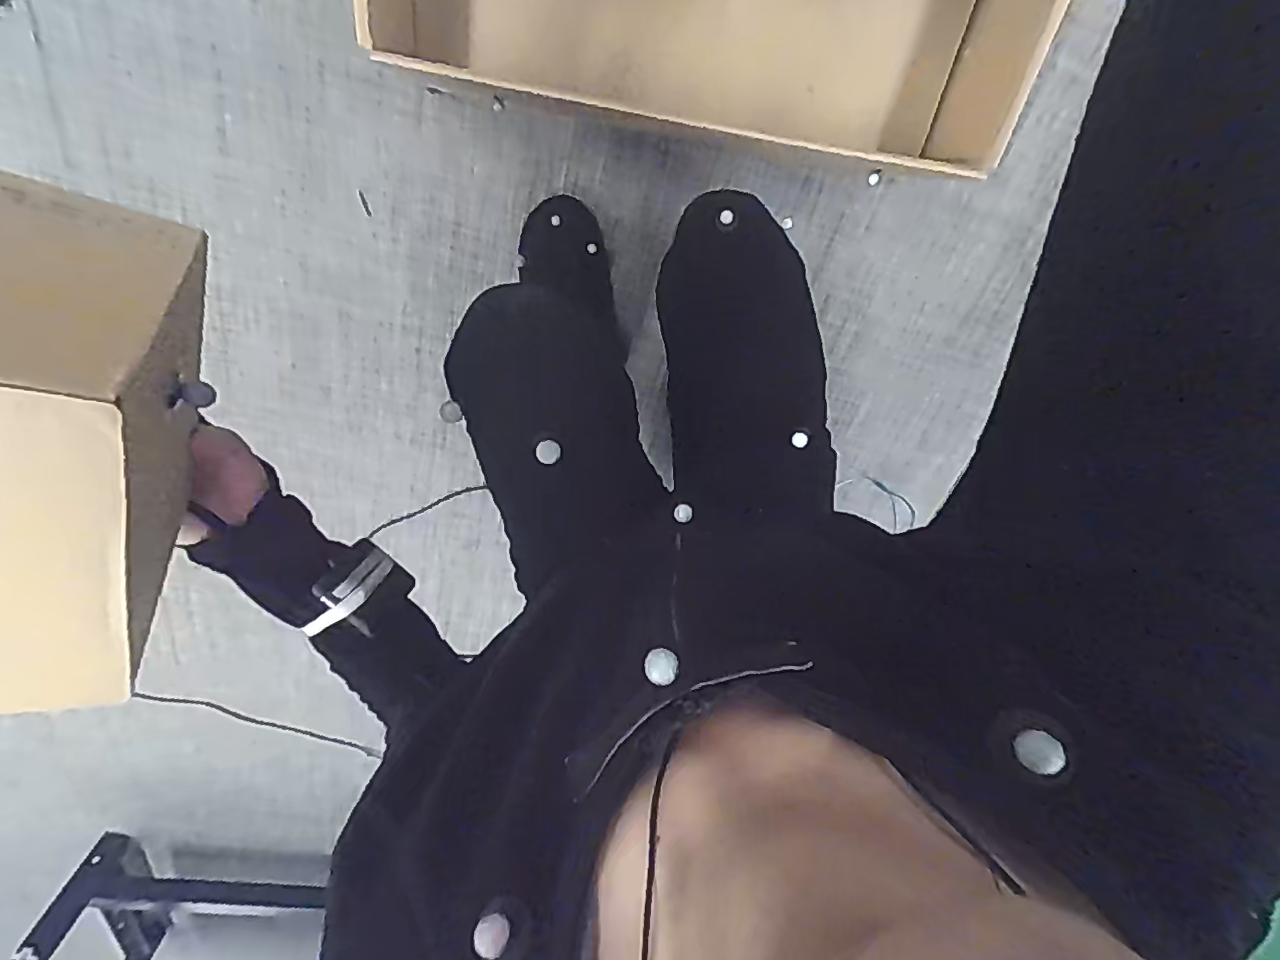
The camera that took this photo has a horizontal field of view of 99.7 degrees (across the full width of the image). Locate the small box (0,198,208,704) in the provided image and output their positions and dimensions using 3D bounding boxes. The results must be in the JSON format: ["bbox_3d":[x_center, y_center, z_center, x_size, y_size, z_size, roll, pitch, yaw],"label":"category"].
[{"bbox_3d":[-0.306,-0.022,0.232,0.168,0.176,0.179,9,125,-34],"label":"small box"}]
